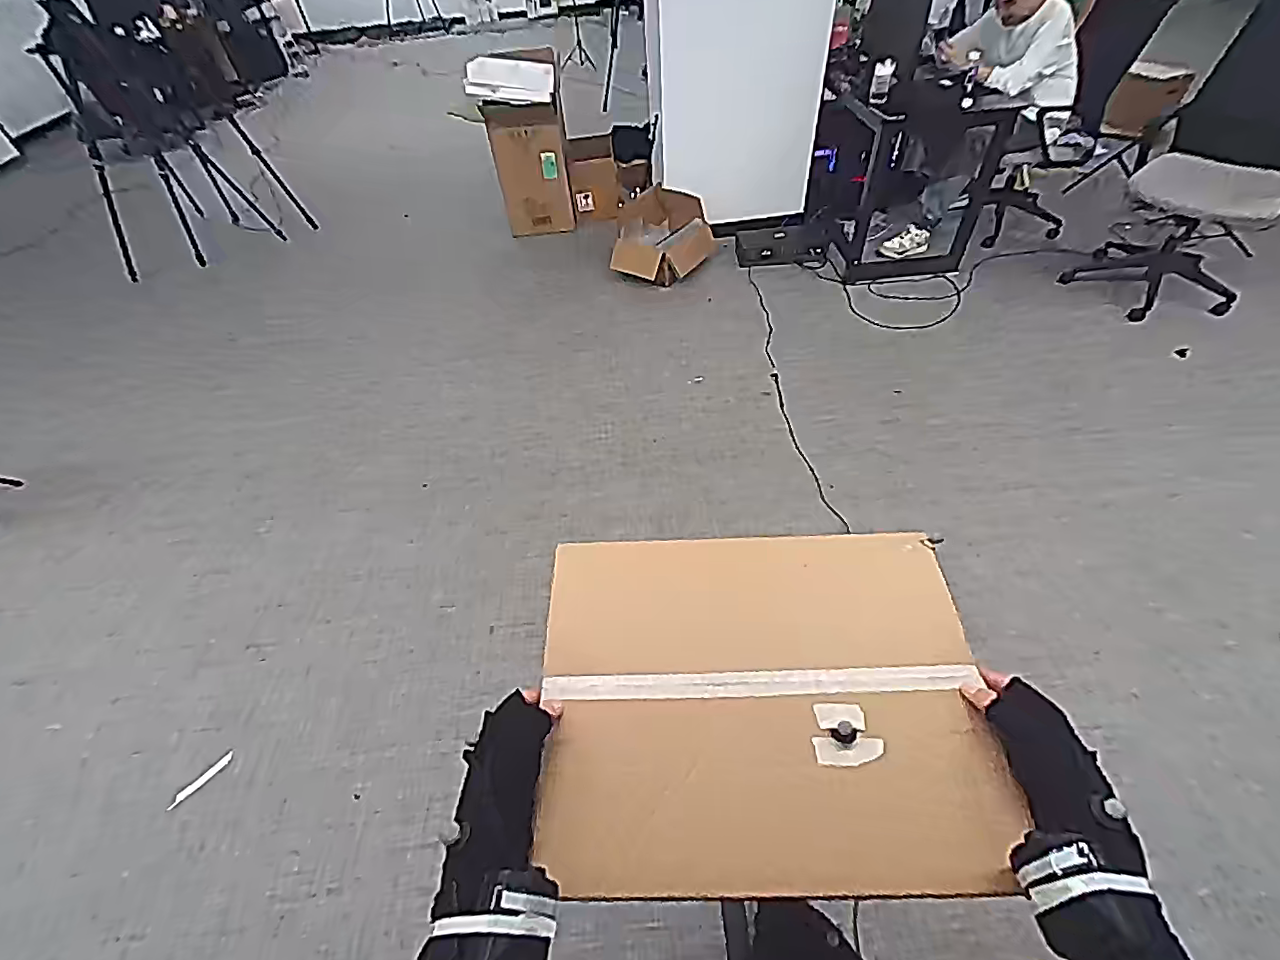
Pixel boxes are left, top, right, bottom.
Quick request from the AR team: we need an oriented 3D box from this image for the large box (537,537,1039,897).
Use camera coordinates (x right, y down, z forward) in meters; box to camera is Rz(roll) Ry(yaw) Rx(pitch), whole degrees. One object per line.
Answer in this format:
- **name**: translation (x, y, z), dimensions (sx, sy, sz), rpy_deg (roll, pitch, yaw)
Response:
- **large box**: translation (0.117, 0.284, 0.630), dimensions (0.408, 0.320, 0.320), rpy_deg (-2, 53, 2)
